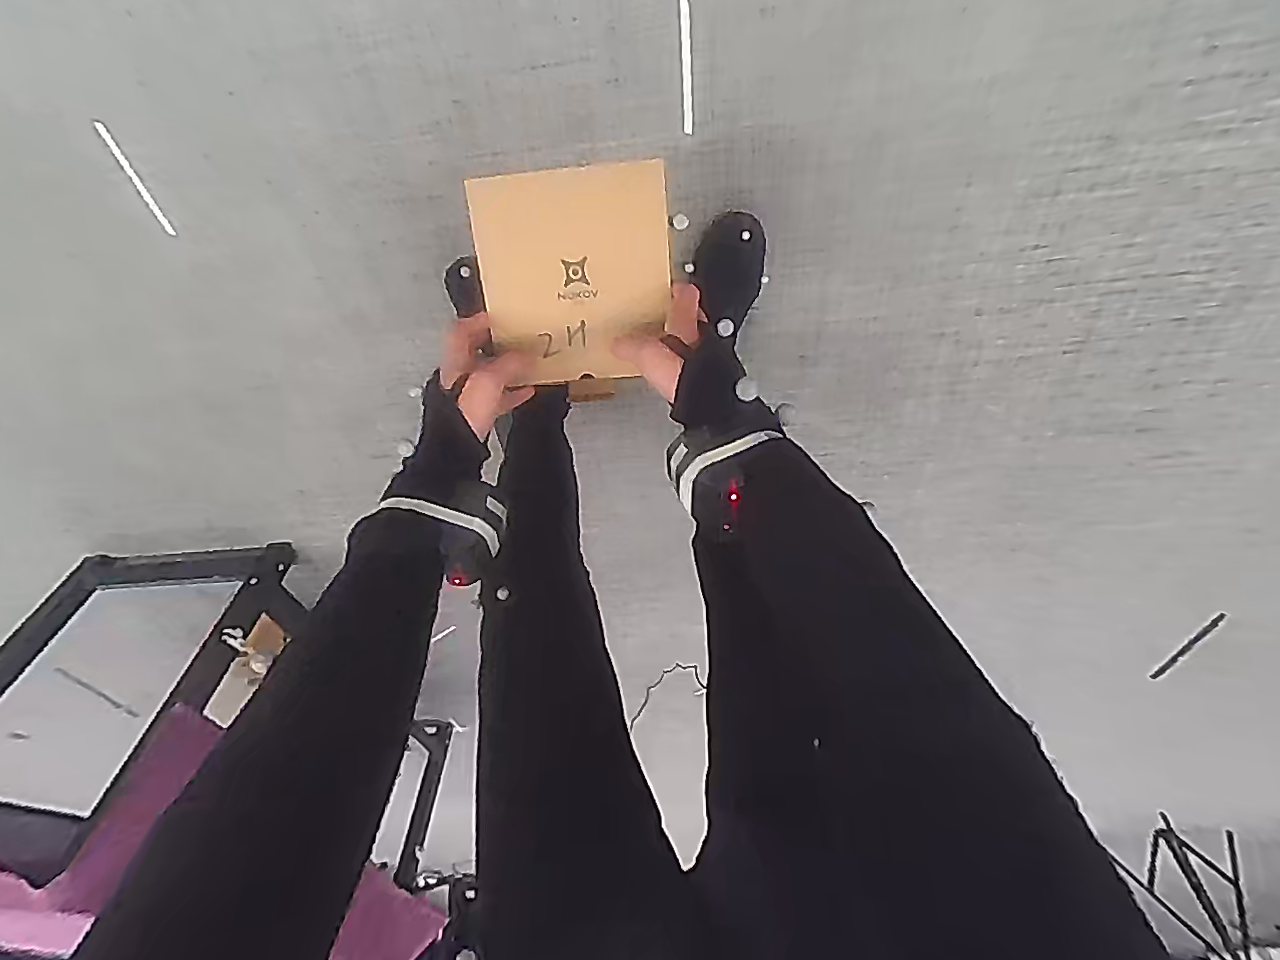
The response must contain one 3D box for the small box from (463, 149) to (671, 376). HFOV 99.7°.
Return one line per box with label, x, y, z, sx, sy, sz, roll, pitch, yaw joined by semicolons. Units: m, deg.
small box;-0.054;-0.210;0.536;0.168;0.176;0.179;-2;115;5
